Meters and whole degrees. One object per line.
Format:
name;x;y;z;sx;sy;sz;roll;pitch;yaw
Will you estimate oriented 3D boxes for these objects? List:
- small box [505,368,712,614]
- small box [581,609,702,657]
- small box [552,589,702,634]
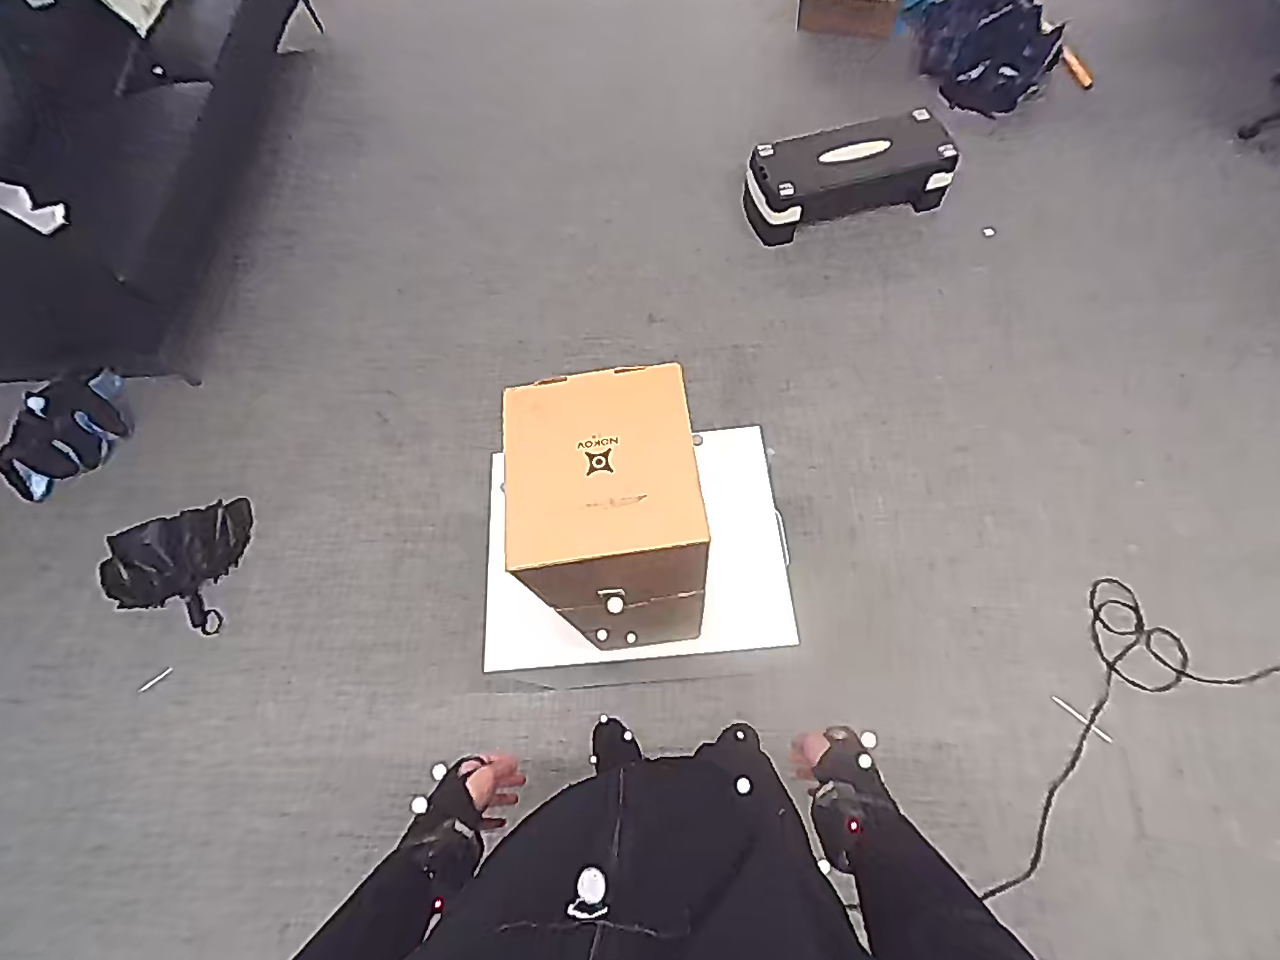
small box;-0.028;0.019;0.533;0.168;0.176;0.179;-9;65;1
small box;-0.002;0.160;0.828;0.168;0.176;0.179;-10;63;1
small box;-0.015;0.089;0.679;0.168;0.176;0.179;-8;63;1
